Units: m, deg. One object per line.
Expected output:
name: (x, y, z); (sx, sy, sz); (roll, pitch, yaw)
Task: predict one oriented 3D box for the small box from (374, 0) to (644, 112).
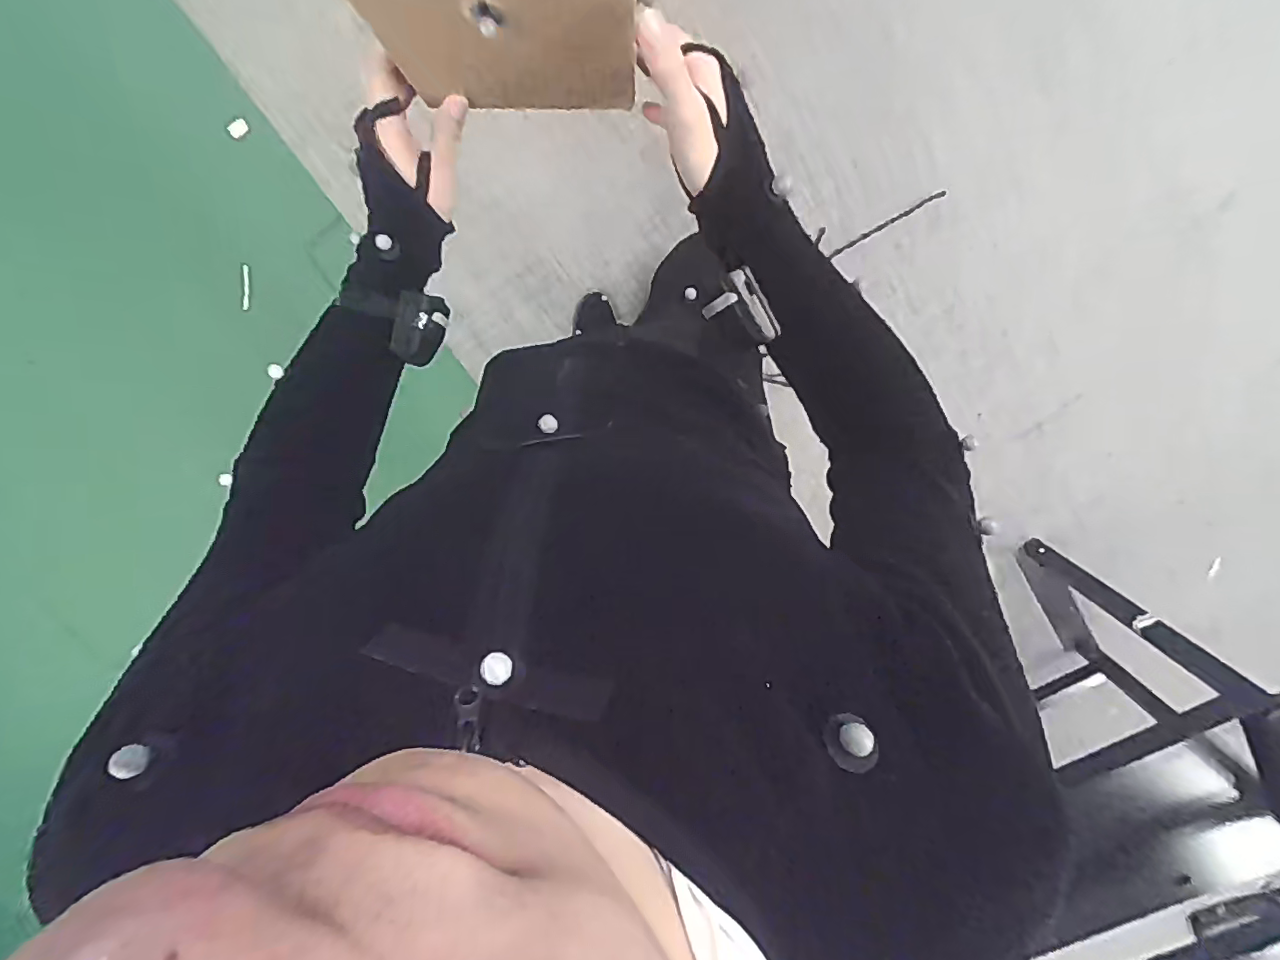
small box: (-0.084, -0.372, 0.357); (0.179, 0.176, 0.168); (1, 101, -2)
